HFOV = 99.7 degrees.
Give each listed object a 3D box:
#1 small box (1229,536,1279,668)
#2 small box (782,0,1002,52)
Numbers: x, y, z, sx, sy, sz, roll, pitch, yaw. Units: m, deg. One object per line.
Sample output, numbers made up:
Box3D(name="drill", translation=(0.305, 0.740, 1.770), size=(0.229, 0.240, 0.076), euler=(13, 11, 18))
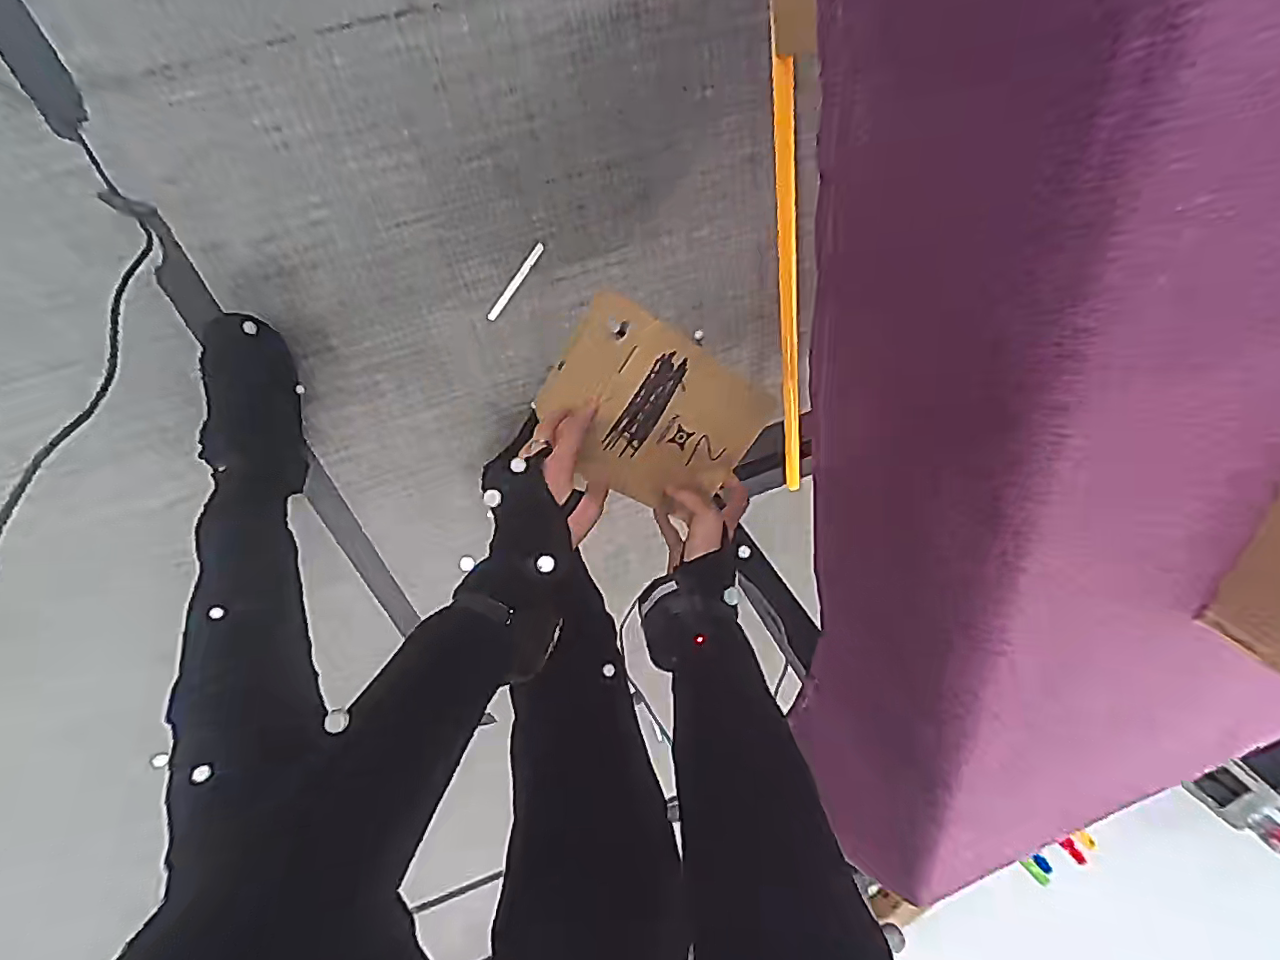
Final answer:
Box3D(name="small box", translation=(0.458, 0.053, 0.254), size=(0.168, 0.176, 0.179), euler=(-16, 125, -8))
Box3D(name="small box", translation=(0.252, -0.562, 0.542), size=(0.168, 0.176, 0.179), euler=(-21, 128, -5))
